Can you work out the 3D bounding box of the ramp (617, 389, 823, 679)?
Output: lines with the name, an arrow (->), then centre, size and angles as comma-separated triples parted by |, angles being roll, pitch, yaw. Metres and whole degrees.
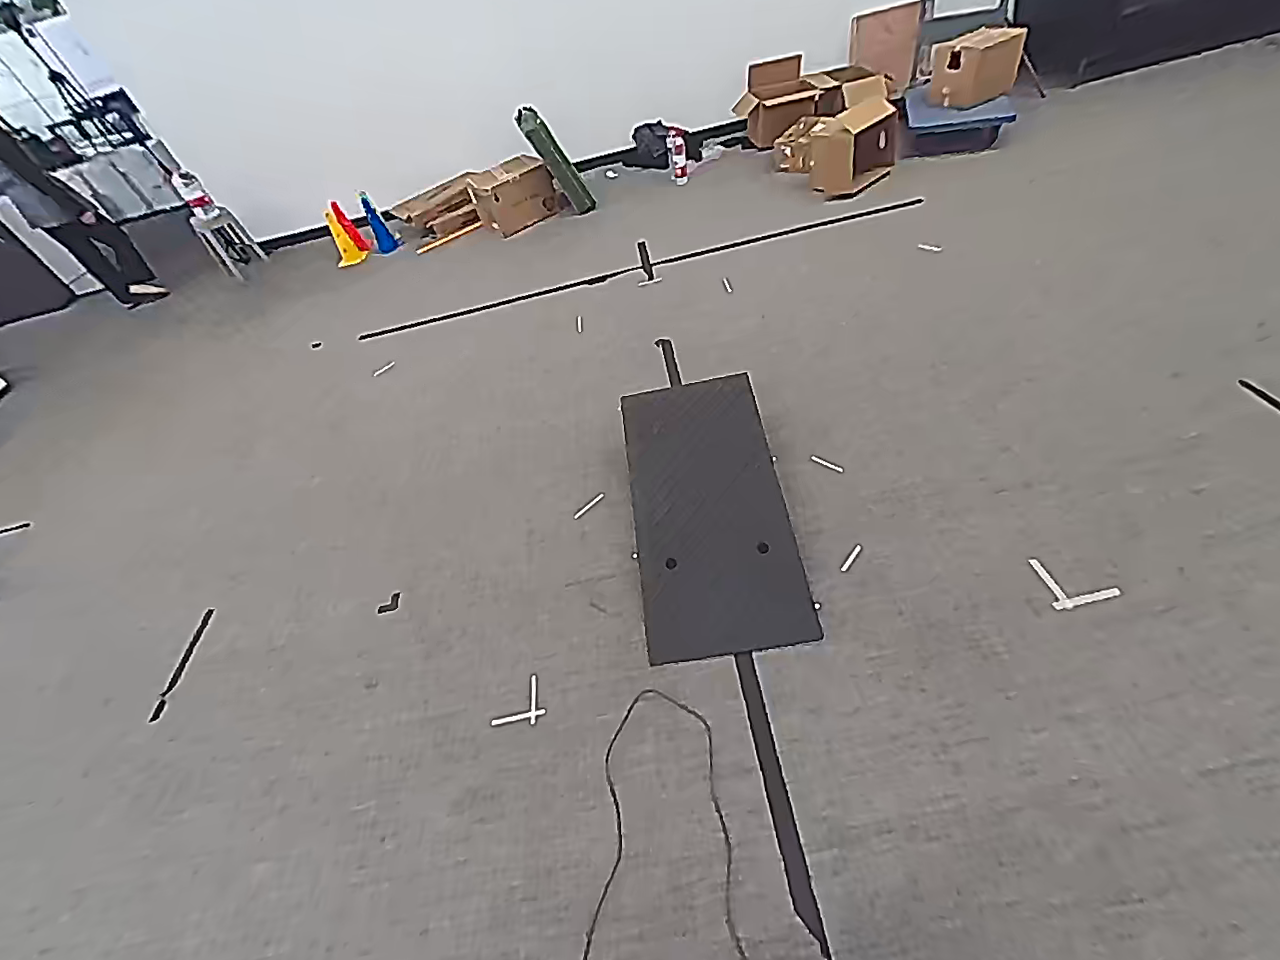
ramp -> 0.214, 0.112, 1.794 | 0.509, 0.206, 0.991 | -13, 45, 3
